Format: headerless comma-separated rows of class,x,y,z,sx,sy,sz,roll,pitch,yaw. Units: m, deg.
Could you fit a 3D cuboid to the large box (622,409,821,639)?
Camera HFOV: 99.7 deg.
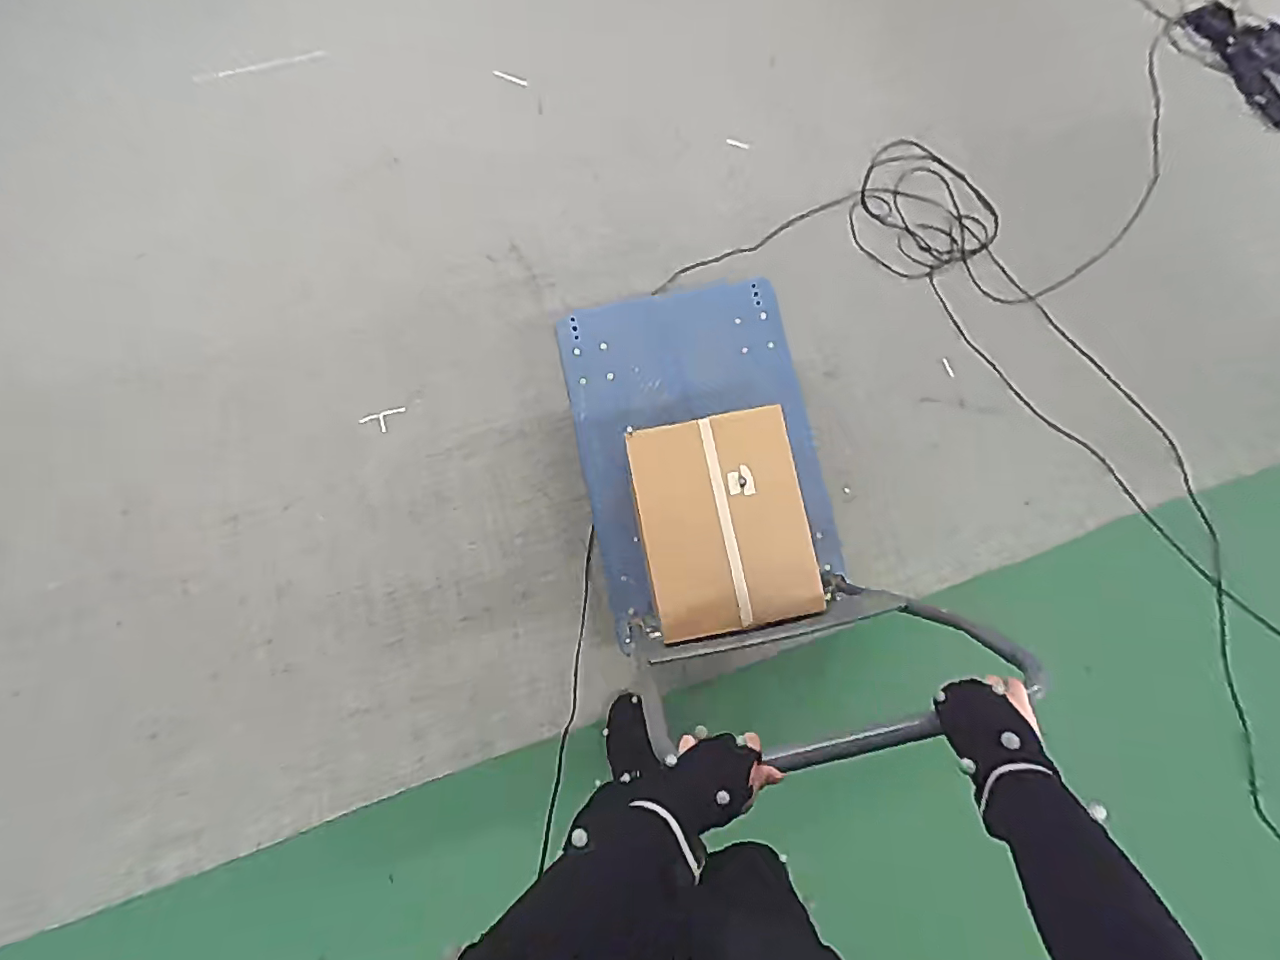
large box,0.154,0.103,1.196,0.320,0.320,0.408,-11,81,-3
